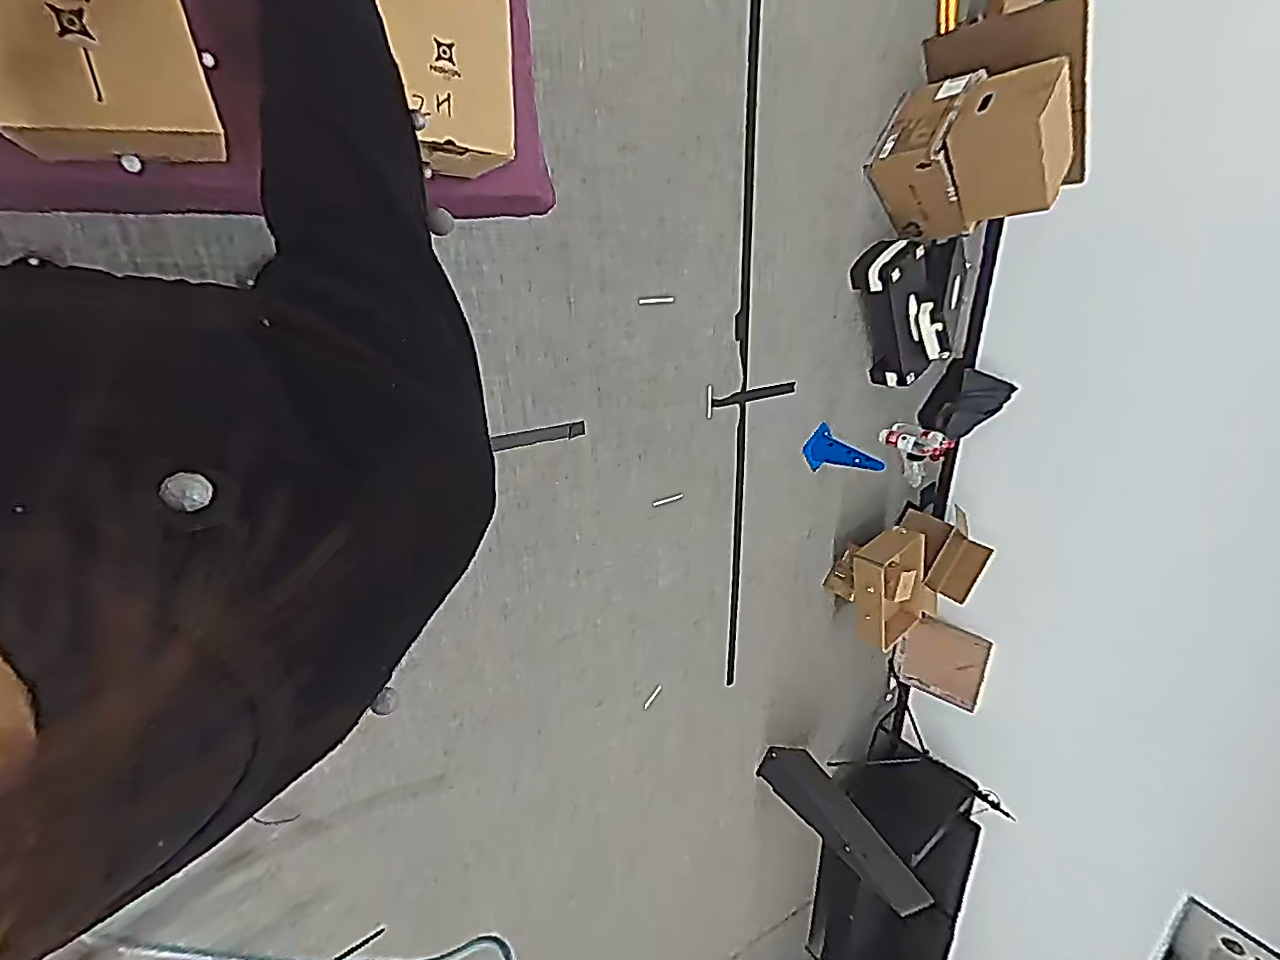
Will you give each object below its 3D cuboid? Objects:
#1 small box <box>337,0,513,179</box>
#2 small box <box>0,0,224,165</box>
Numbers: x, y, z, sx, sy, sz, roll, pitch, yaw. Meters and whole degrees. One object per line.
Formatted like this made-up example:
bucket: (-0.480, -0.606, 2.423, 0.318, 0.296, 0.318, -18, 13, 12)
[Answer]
small box: (-0.271, -0.500, 0.679, 0.168, 0.176, 0.179, -10, 112, -33)
small box: (-0.528, -0.417, 0.518, 0.168, 0.176, 0.179, -19, 118, -30)
